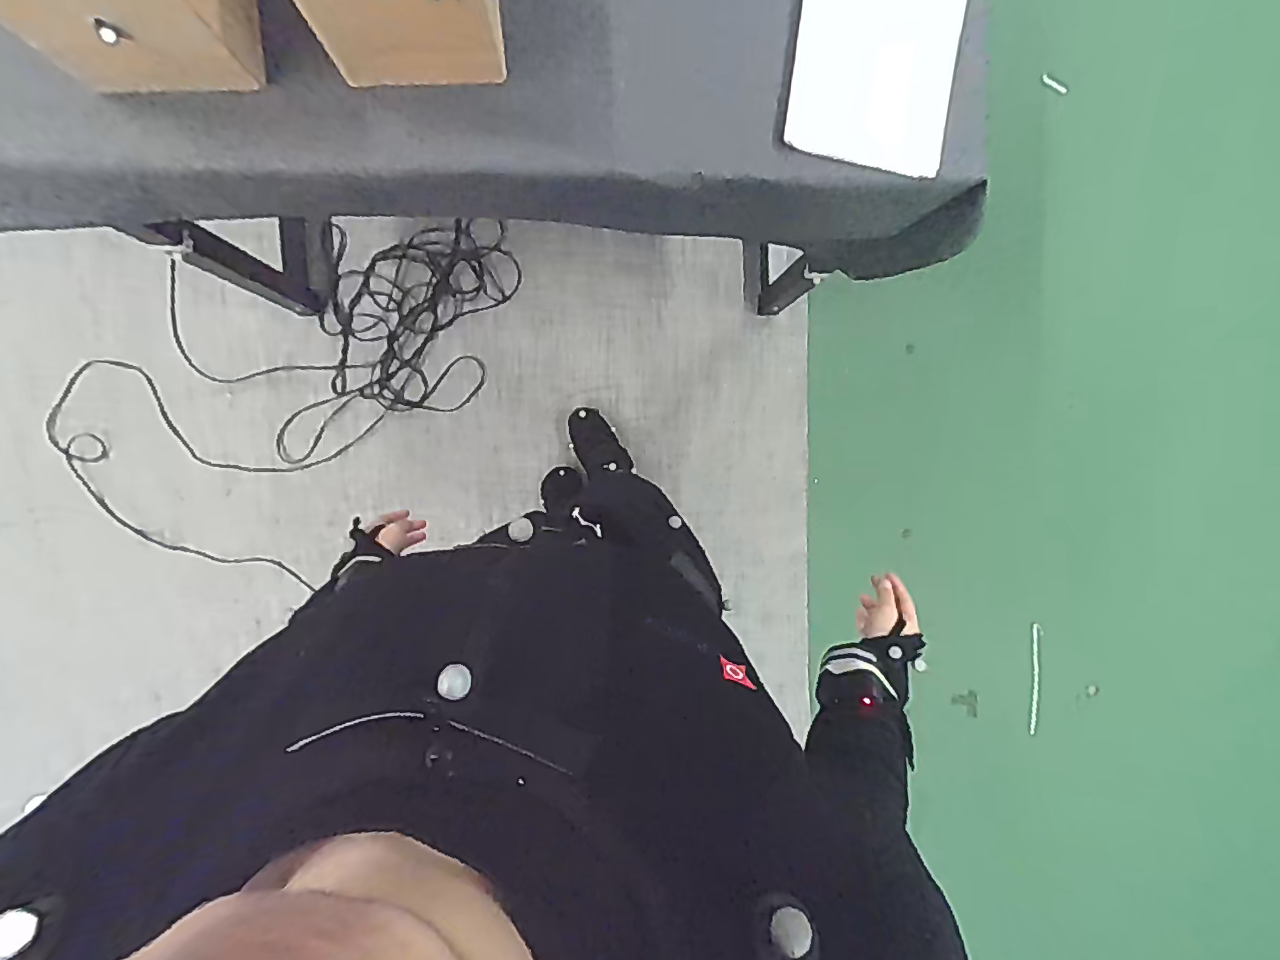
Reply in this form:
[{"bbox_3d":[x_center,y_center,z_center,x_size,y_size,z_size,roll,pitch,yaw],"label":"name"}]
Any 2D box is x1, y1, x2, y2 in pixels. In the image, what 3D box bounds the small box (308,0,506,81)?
[{"bbox_3d":[-0.238,-0.526,0.524,0.179,0.176,0.168,-6,93,-6],"label":"small box"}]
